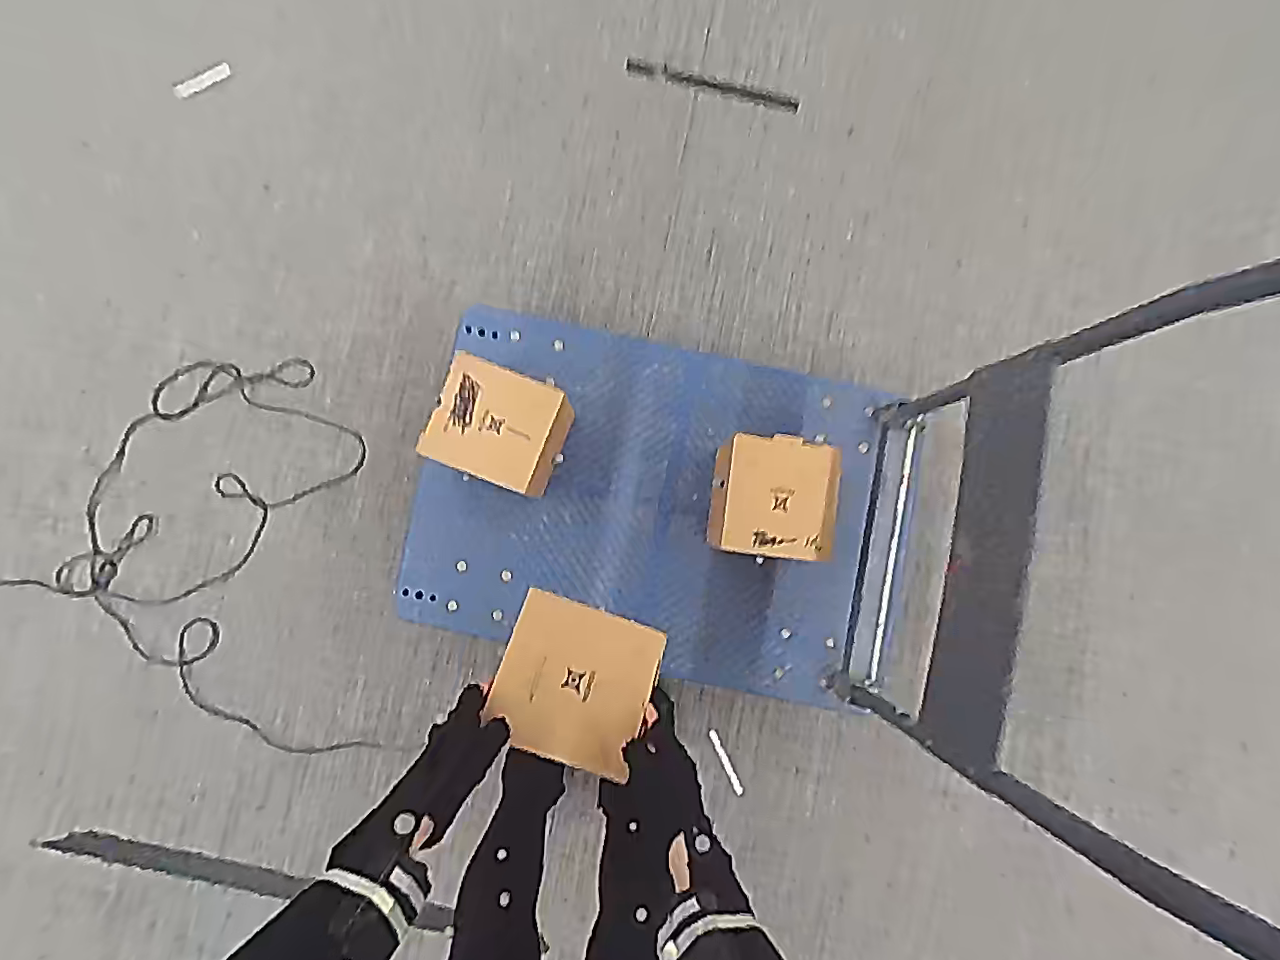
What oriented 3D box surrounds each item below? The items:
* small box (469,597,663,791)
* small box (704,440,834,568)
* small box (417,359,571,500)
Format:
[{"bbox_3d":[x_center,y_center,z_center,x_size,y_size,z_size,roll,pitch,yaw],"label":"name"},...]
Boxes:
[{"bbox_3d":[-0.091,0.264,0.674,0.179,0.176,0.168,20,64,-3],"label":"small box"},{"bbox_3d":[0.203,0.044,0.891,0.168,0.176,0.179,8,83,0],"label":"small box"},{"bbox_3d":[-0.227,-0.071,0.890,0.179,0.176,0.168,22,85,0],"label":"small box"}]
